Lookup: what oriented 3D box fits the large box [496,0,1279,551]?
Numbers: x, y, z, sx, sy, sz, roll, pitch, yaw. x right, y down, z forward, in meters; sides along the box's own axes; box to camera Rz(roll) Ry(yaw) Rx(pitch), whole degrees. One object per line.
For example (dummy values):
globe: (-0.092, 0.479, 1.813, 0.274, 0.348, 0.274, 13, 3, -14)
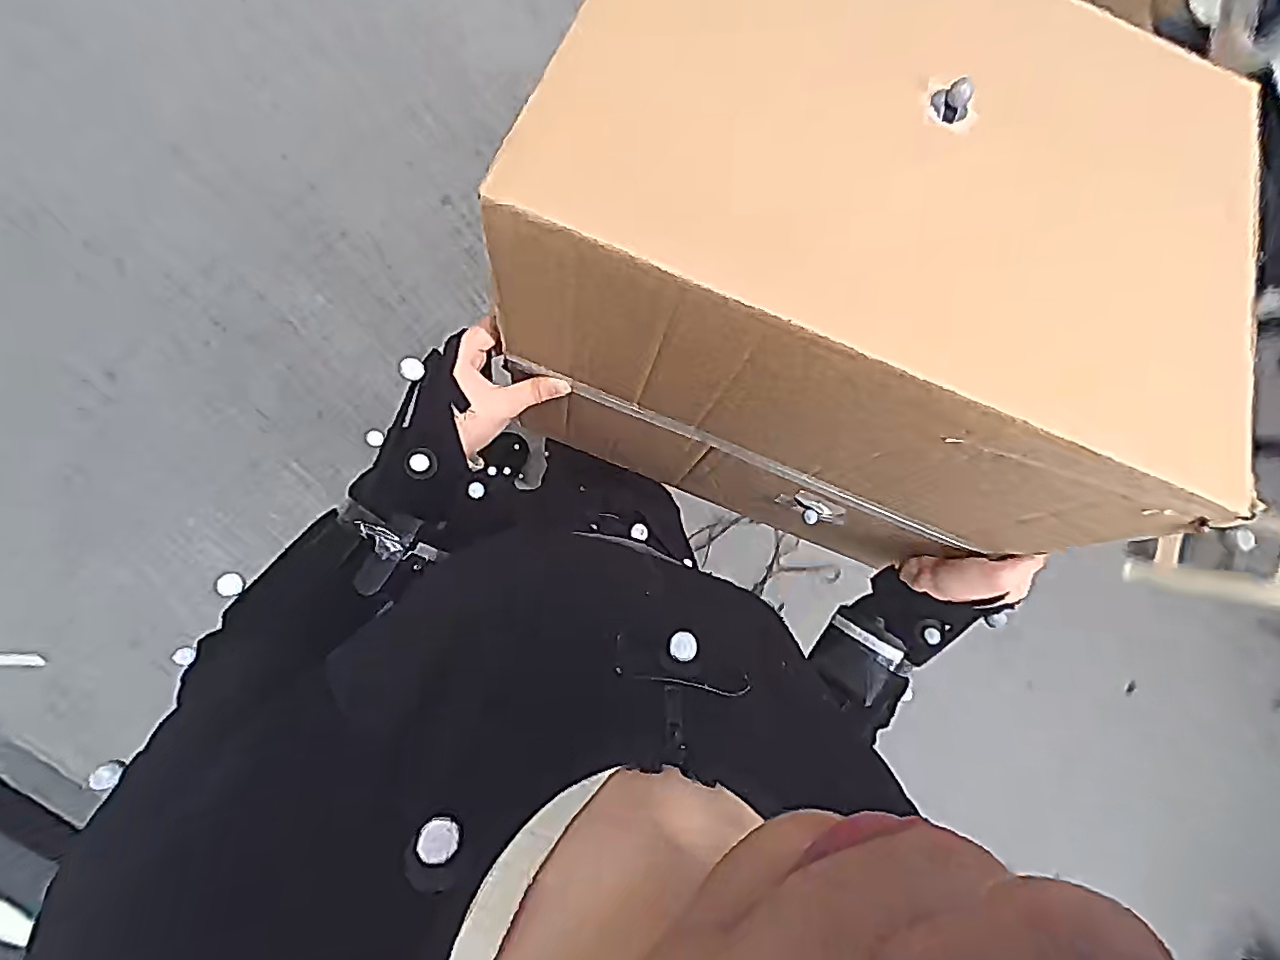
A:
large box: (0.151, -0.170, 0.417, 0.408, 0.320, 0.320, 19, 75, -3)
